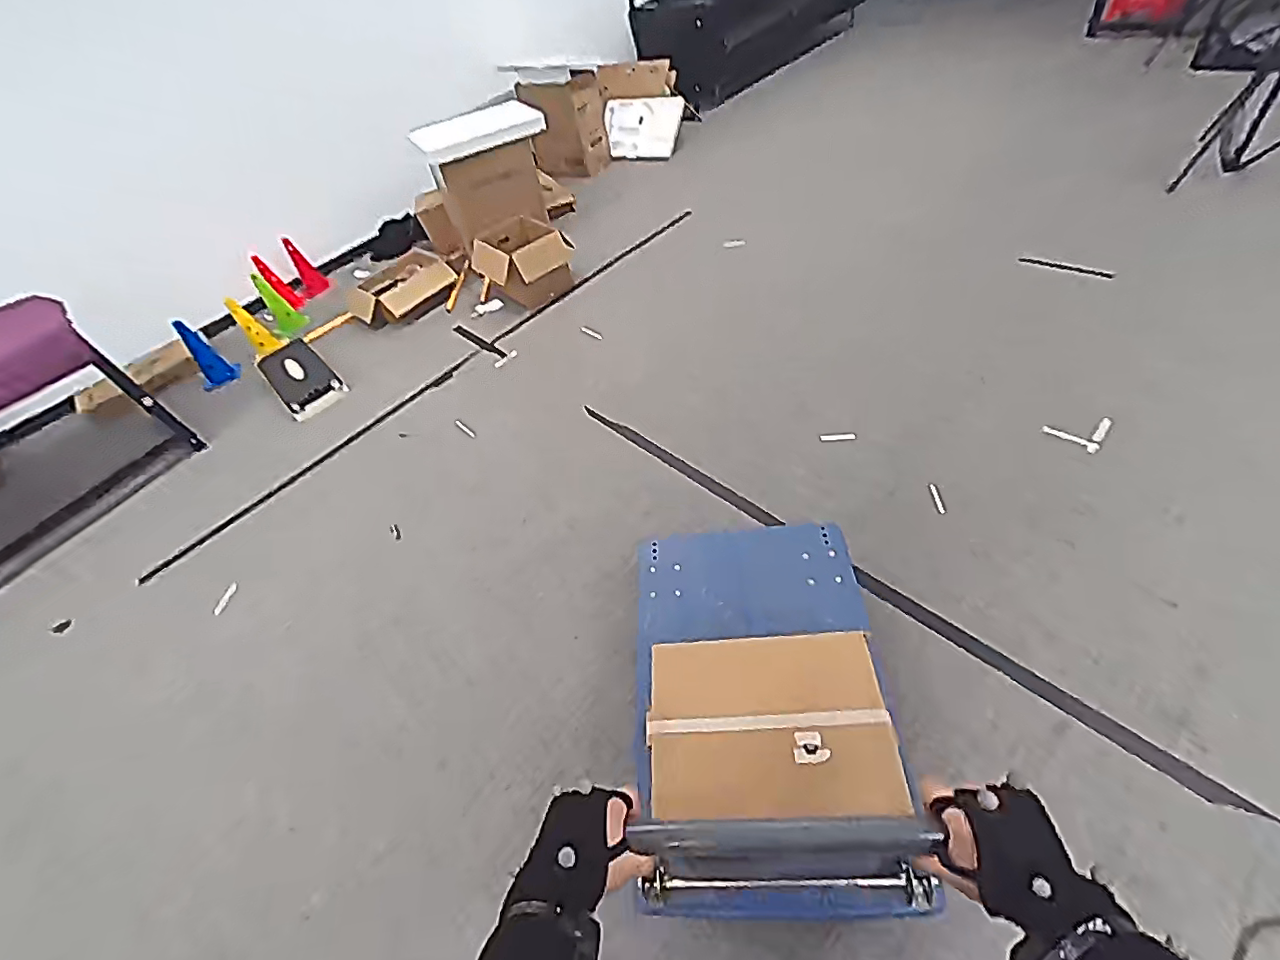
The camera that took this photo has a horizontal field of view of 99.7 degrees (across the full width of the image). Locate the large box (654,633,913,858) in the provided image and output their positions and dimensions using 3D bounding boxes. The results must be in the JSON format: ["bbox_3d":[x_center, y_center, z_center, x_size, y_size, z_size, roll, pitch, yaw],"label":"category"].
[{"bbox_3d":[0.246,0.522,1.051,0.408,0.320,0.320,-6,49,8],"label":"large box"}]
